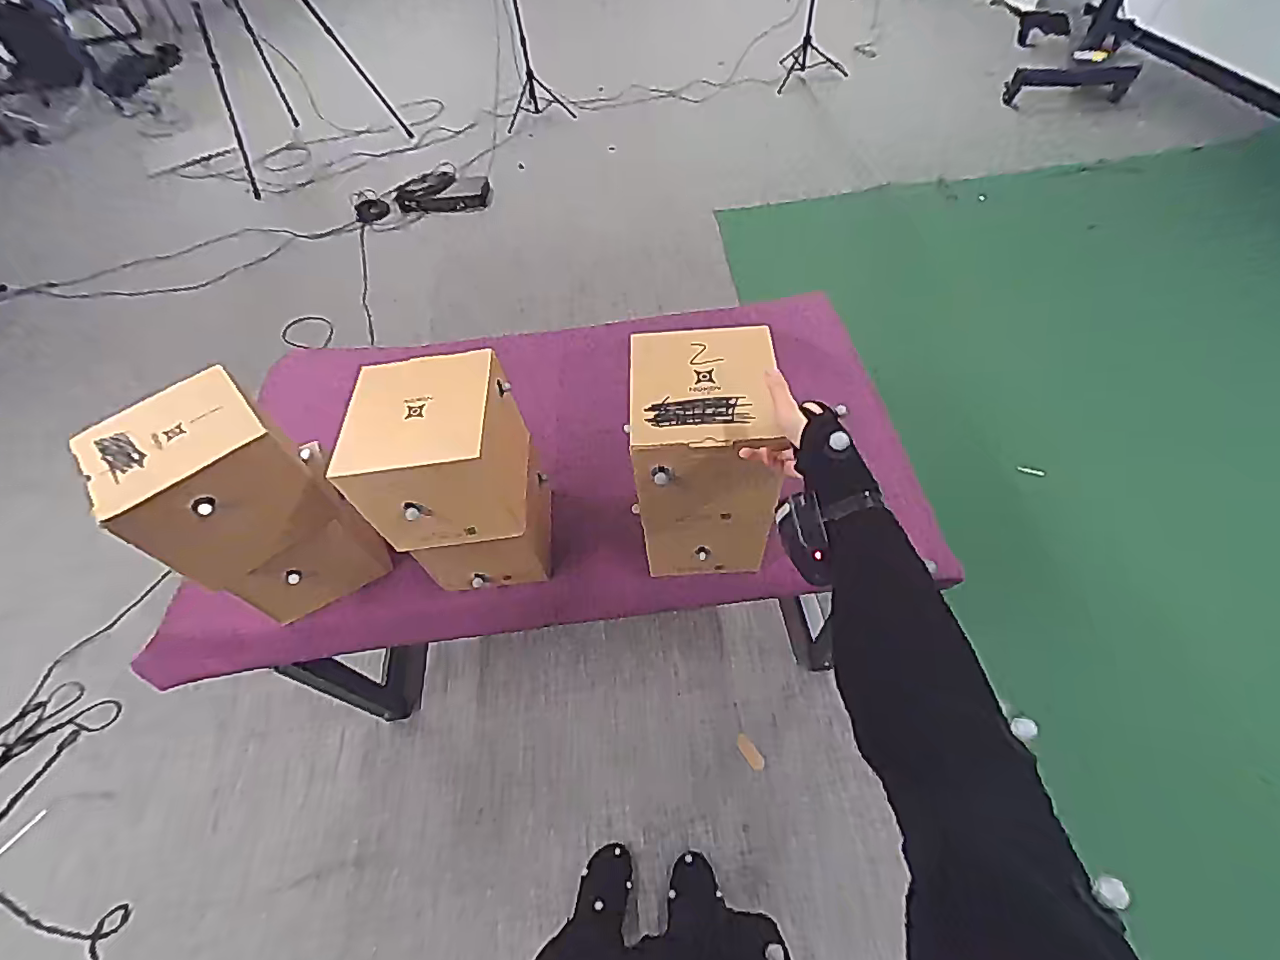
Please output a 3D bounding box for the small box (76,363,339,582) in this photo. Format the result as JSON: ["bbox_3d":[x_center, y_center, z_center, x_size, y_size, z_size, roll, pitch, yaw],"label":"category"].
[{"bbox_3d":[-0.524,-0.005,0.675,0.179,0.176,0.168,-38,59,-22],"label":"small box"}]

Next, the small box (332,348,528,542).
[{"bbox_3d":[-0.242,-0.035,0.676,0.168,0.176,0.179,-7,53,1],"label":"small box"}]

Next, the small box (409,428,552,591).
[{"bbox_3d":[-0.232,0.047,0.817,0.168,0.176,0.179,-7,54,1],"label":"small box"}]

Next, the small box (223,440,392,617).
[{"bbox_3d":[-0.512,0.078,0.817,0.179,0.176,0.168,-28,57,-14],"label":"small box"}]

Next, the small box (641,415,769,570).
[{"bbox_3d":[0.090,0.026,0.800,0.168,0.176,0.179,-3,55,3],"label":"small box"}]
